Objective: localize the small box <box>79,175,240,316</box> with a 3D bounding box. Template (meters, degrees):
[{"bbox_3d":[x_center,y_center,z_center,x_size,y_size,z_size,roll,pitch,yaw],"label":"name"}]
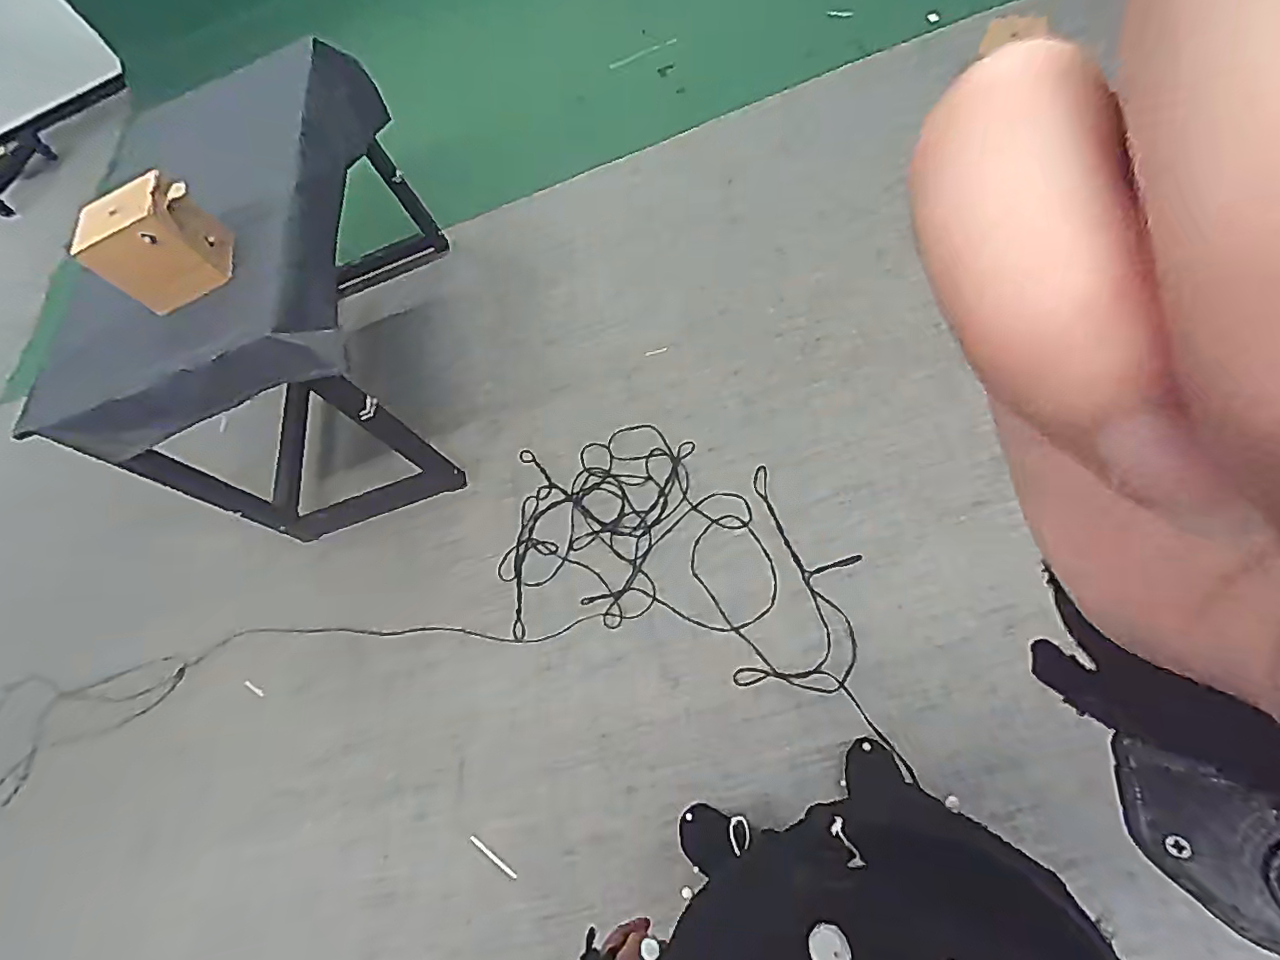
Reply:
[{"bbox_3d":[-0.971,-0.473,1.108,0.179,0.176,0.168,-25,60,3],"label":"small box"}]

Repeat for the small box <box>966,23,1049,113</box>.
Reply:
[{"bbox_3d":[1.160,-1.301,1.718,0.168,0.176,0.179,16,69,22],"label":"small box"}]
